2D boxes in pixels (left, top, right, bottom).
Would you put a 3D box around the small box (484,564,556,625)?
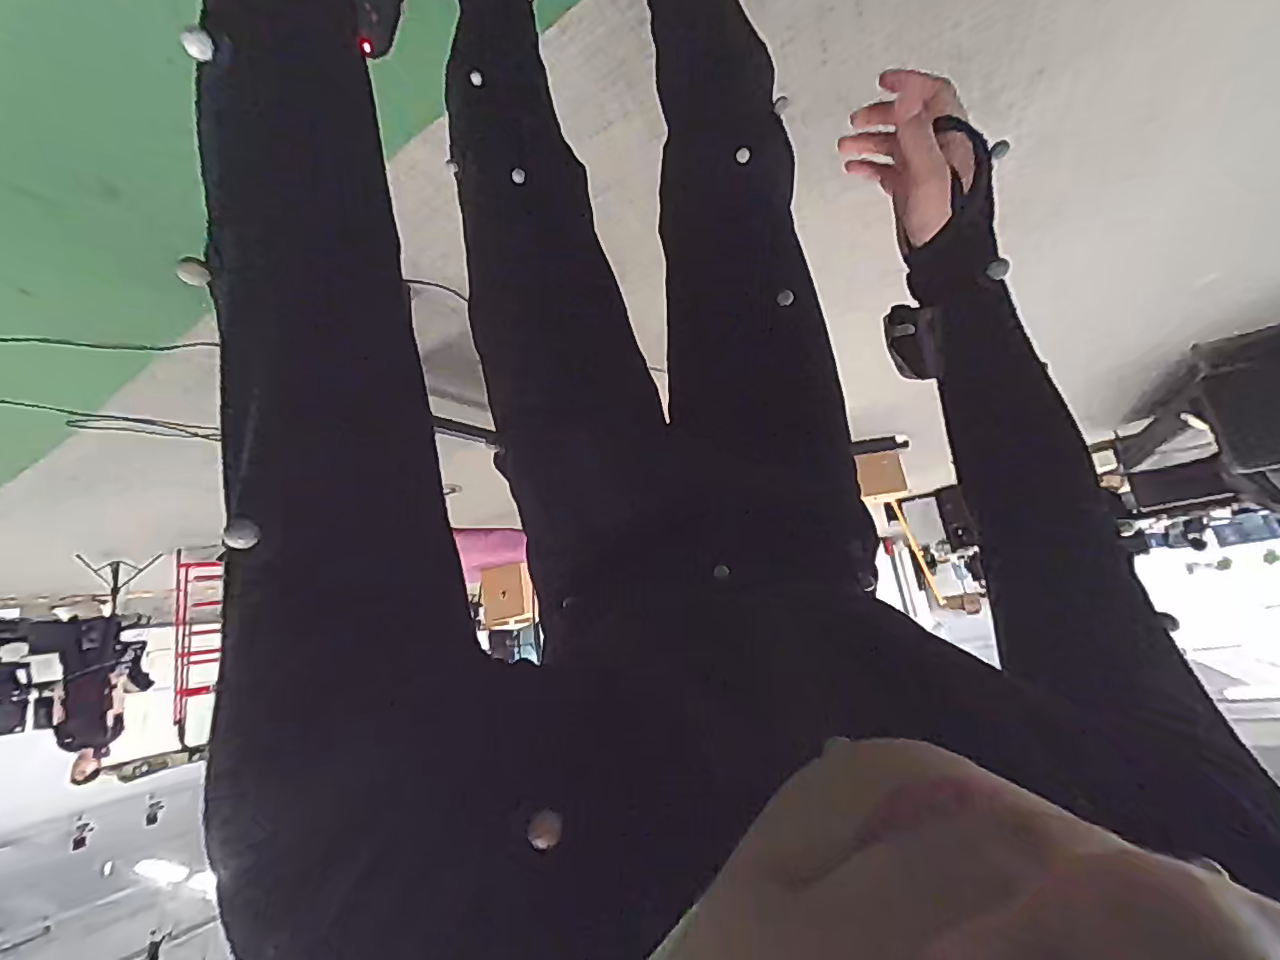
[{"bbox_3d":[-0.398,0.378,1.786,0.179,0.176,0.168,-17,164,26],"label":"small box"}]
